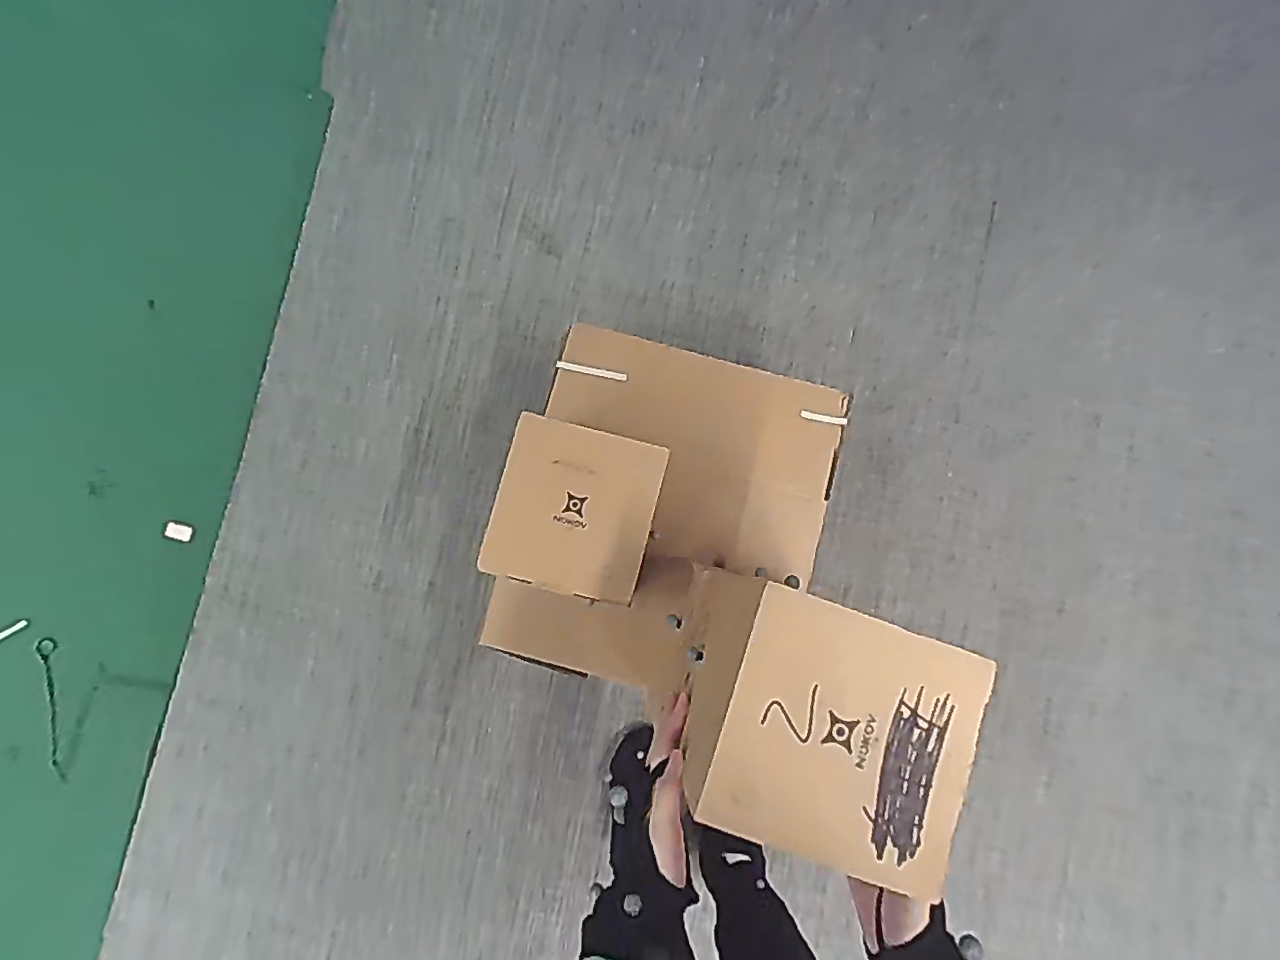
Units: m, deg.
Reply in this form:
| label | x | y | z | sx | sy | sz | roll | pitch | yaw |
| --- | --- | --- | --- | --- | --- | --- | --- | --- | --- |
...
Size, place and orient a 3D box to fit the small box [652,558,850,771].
| label | x | y | z | sx | sy | sz | roll | pitch | yaw |
| --- | --- | --- | --- | --- | --- | --- | --- | --- | --- |
| small box | 0.114 | 0.195 | 0.628 | 0.168 | 0.176 | 0.179 | 17 | 84 | 1 |

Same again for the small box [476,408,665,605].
| label | x | y | z | sx | sy | sz | roll | pitch | yaw |
| --- | --- | --- | --- | --- | --- | --- | --- | --- | --- |
| small box | -0.071 | 0.034 | 0.645 | 0.168 | 0.176 | 0.179 | 15 | 83 | 1 |
